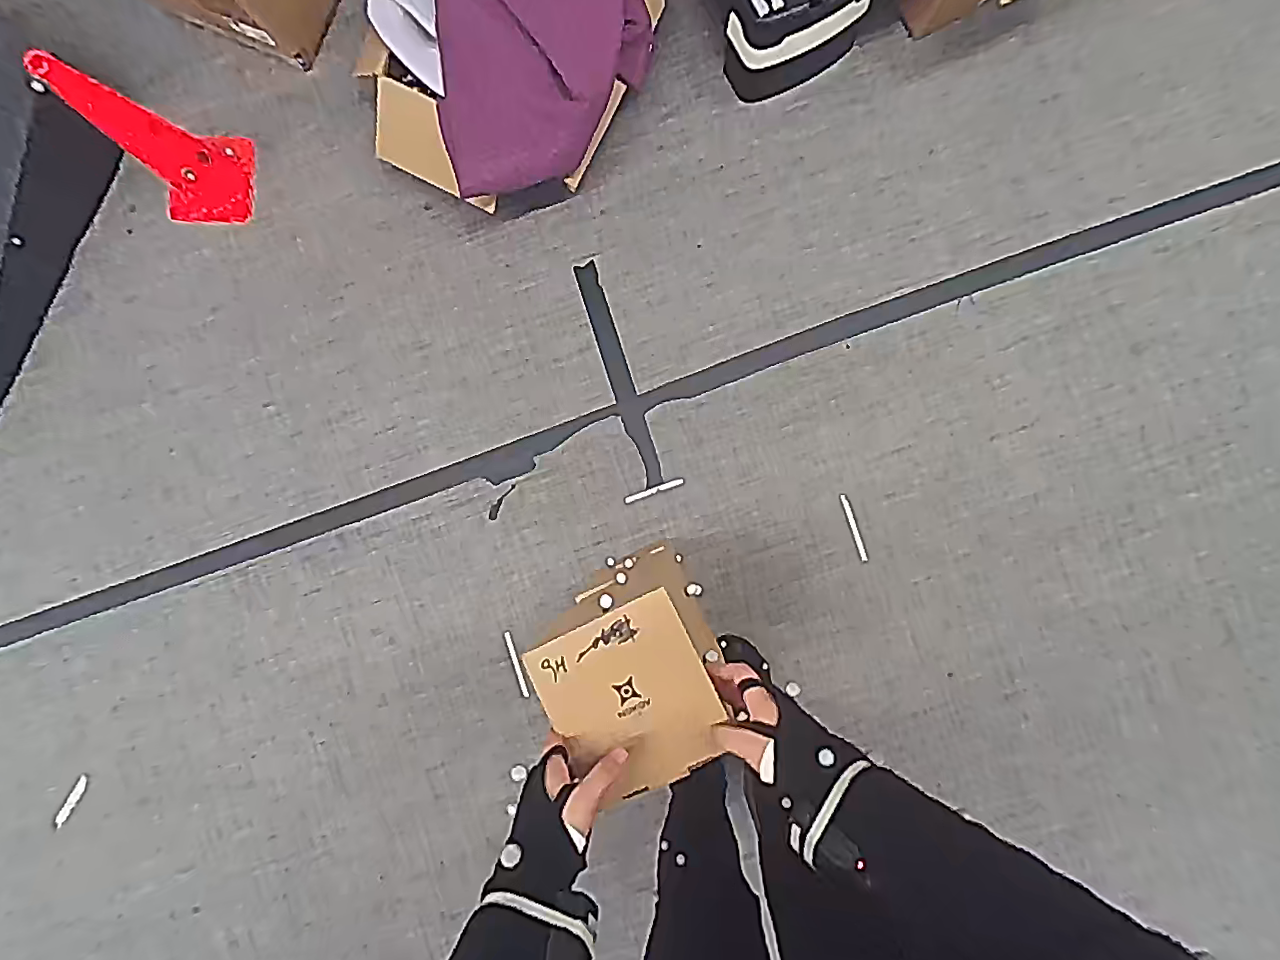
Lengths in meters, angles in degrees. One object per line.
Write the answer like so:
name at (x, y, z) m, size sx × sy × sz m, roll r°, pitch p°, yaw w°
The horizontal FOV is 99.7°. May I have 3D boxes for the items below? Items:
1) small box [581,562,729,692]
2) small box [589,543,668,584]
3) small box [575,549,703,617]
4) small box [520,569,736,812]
small box at (0.009, 0.229, 0.778) m, size 0.168 × 0.176 × 0.179 m, roll -27°, pitch 88°, yaw 3°
small box at (0.012, 0.239, 1.107) m, size 0.168 × 0.176 × 0.179 m, roll -26°, pitch 89°, yaw 3°
small box at (0.008, 0.232, 0.943) m, size 0.179 × 0.176 × 0.168 m, roll -24°, pitch 88°, yaw 2°
small box at (-0.007, 0.221, 0.615) m, size 0.168 × 0.176 × 0.179 m, roll -26°, pitch 88°, yaw 3°
